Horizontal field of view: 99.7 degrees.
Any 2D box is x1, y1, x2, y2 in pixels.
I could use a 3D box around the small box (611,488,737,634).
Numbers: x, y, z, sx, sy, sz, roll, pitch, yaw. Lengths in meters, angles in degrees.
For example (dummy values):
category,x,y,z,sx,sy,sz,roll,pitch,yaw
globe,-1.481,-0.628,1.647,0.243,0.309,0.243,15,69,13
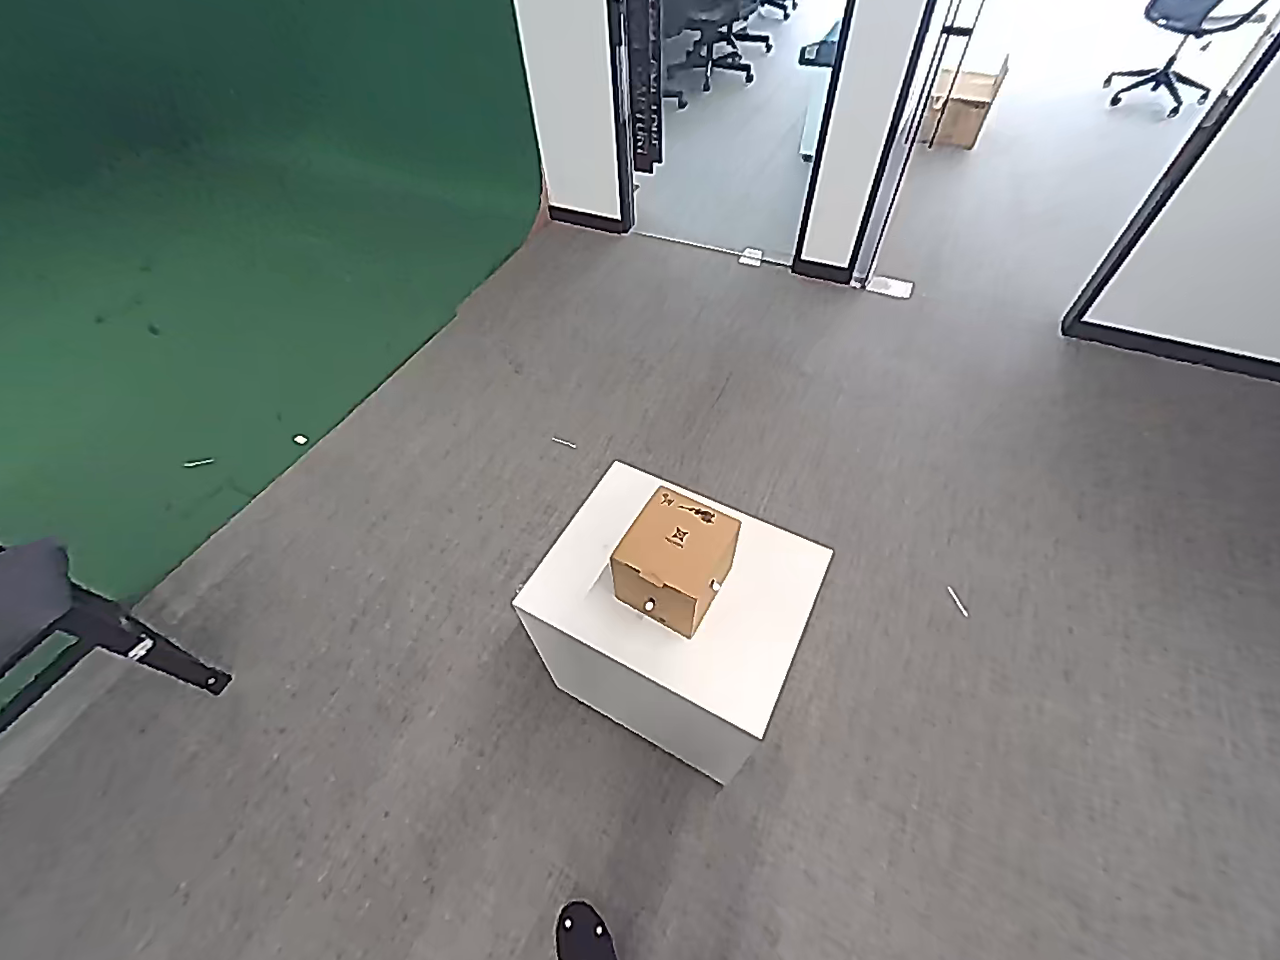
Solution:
category,x,y,z,sx,sy,sz,roll,pitch,yaw
small box,0.065,0.153,0.991,0.168,0.176,0.179,23,56,18
